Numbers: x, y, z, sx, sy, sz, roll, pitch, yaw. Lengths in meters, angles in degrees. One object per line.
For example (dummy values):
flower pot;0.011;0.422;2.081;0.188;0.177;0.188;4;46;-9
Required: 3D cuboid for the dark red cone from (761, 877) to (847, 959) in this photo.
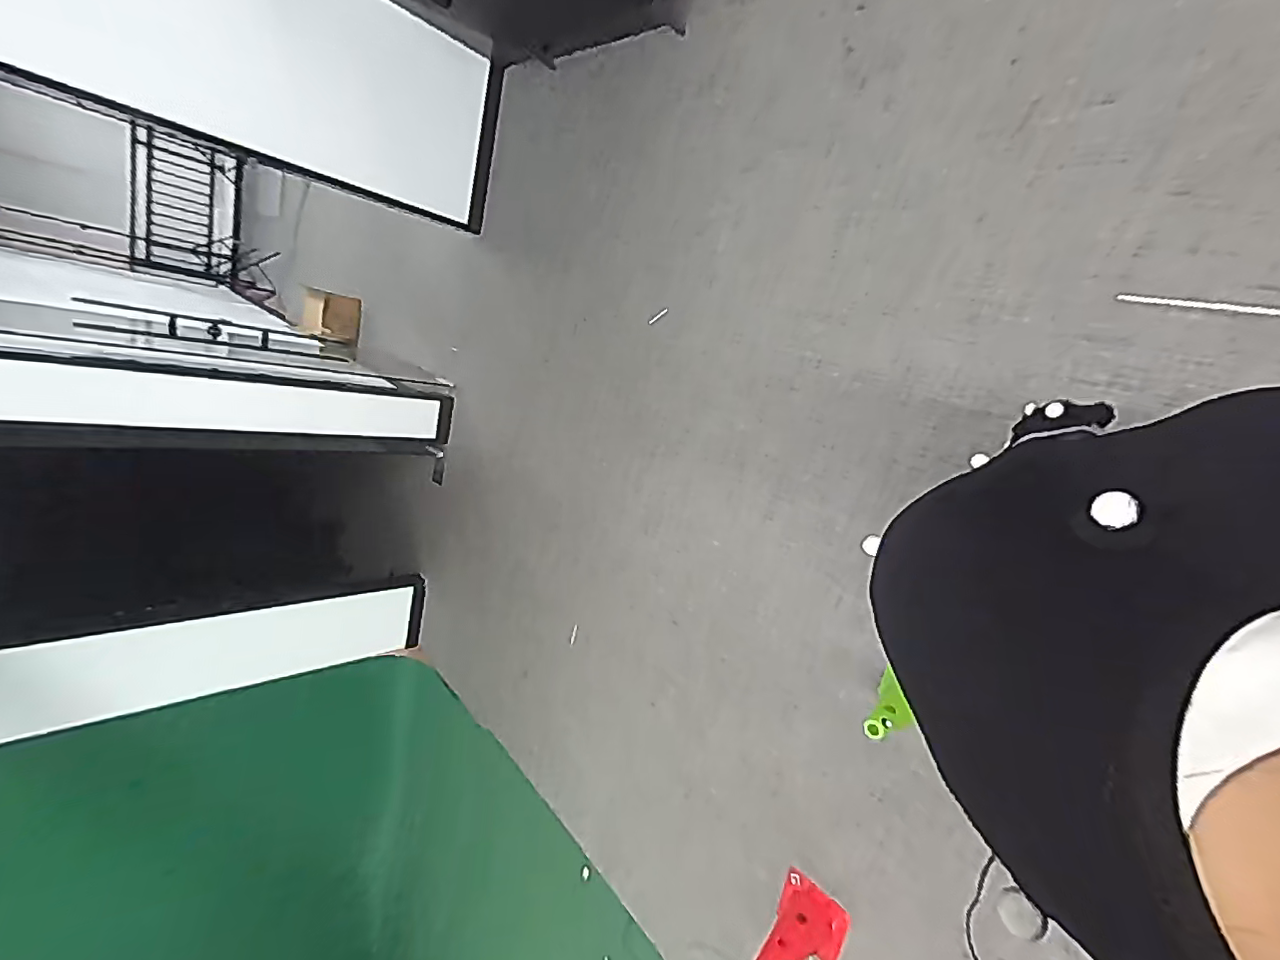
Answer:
dark red cone;0.389;1.320;1.481;0.202;0.394;0.201;20;105;43
